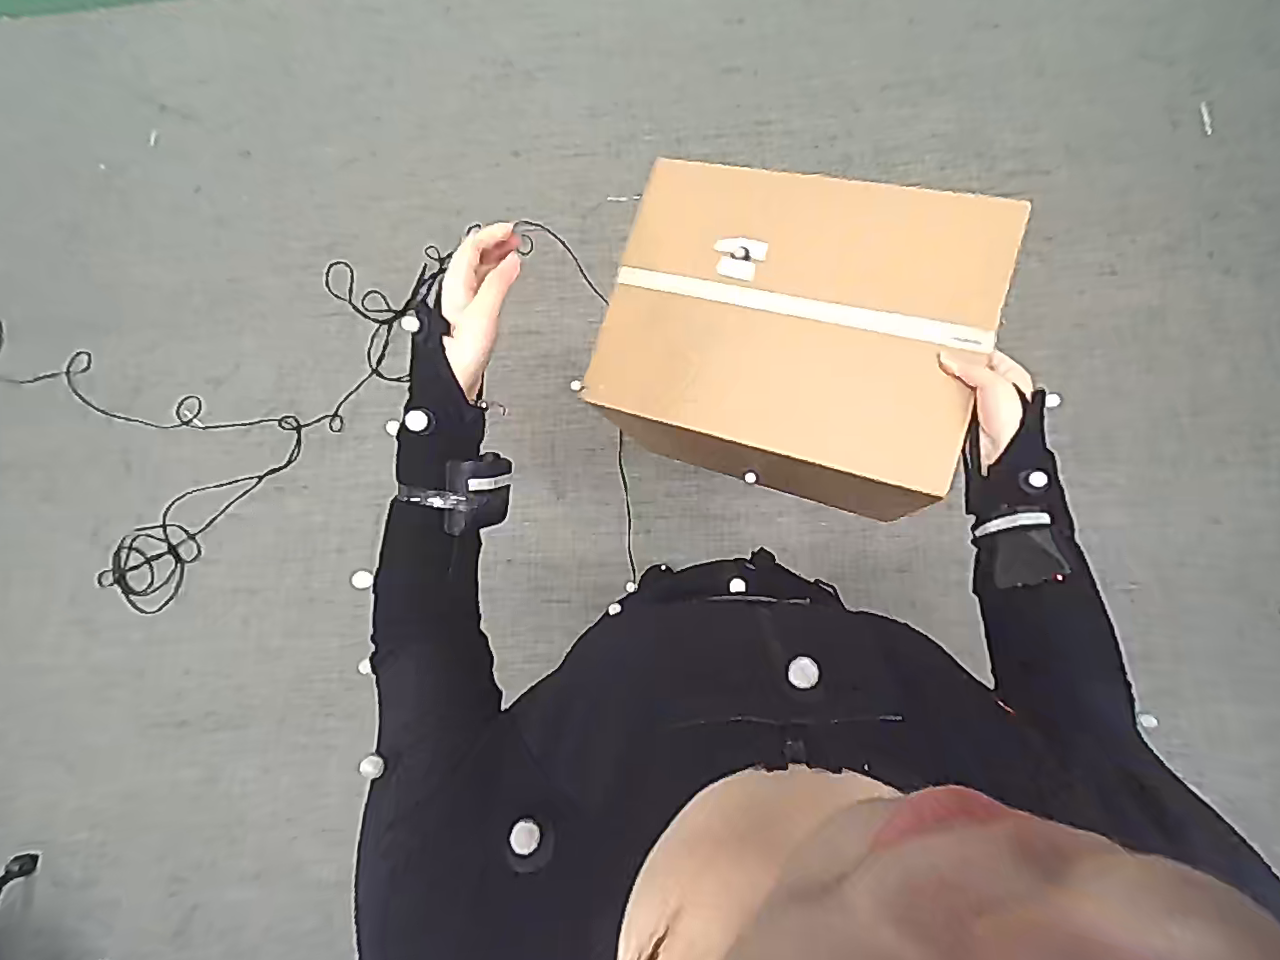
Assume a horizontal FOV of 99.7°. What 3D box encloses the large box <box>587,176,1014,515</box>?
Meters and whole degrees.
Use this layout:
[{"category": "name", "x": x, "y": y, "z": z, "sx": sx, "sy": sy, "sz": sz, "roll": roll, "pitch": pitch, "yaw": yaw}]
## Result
[{"category": "large box", "x": 0.205, "y": -0.162, "z": 0.746, "sx": 0.408, "sy": 0.320, "sz": 0.320, "roll": 18, "pitch": 86, "yaw": 20}]
